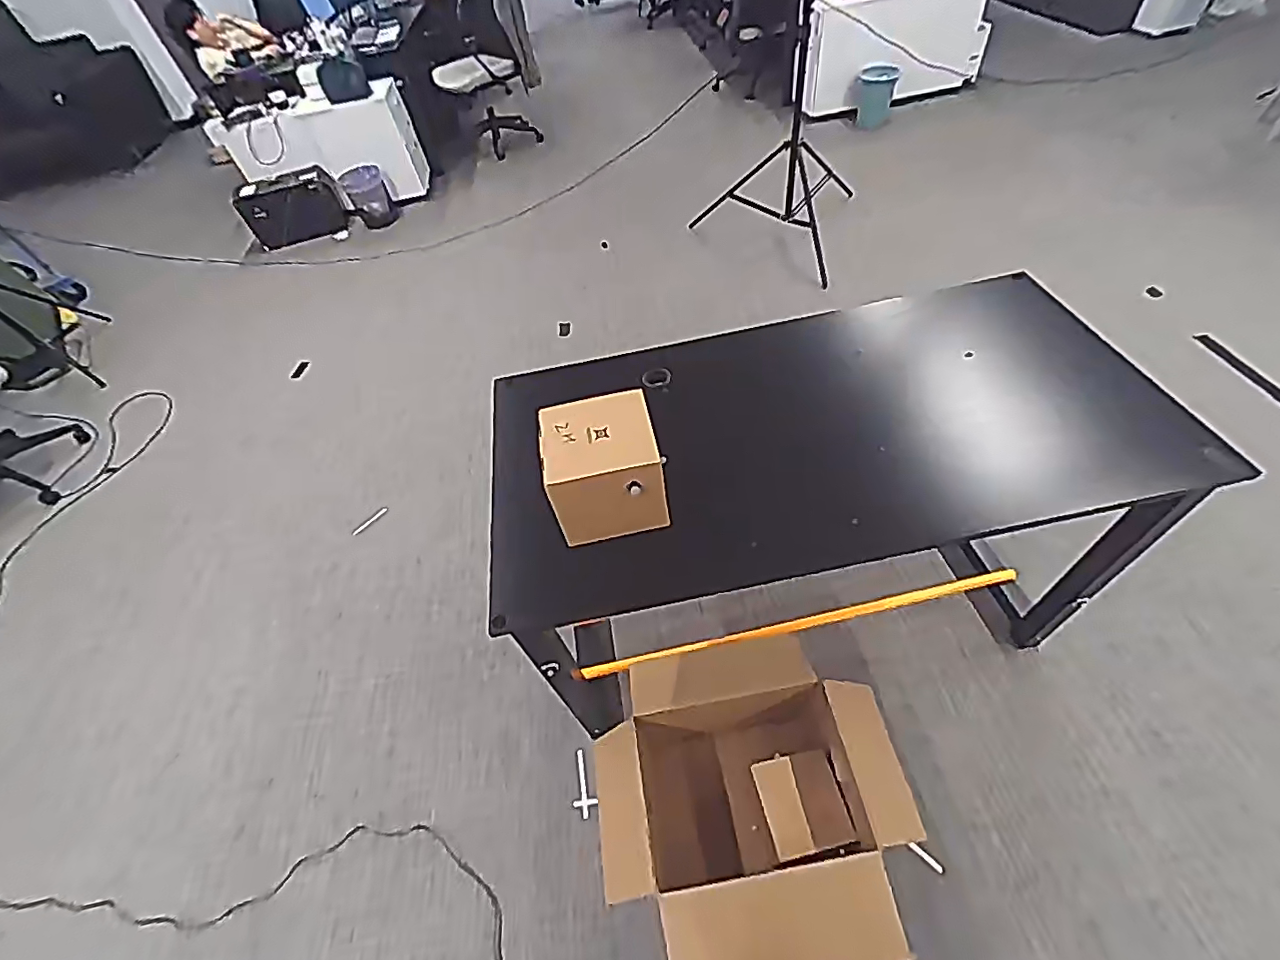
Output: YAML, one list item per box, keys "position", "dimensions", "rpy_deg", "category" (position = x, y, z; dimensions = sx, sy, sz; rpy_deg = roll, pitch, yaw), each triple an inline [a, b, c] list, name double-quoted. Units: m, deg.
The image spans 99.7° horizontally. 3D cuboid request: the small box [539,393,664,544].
- position: [-0.059, -0.015, 0.896]
  dimensions: [0.179, 0.176, 0.168]
  rpy_deg: [-12, 50, -1]
  category: "small box"
